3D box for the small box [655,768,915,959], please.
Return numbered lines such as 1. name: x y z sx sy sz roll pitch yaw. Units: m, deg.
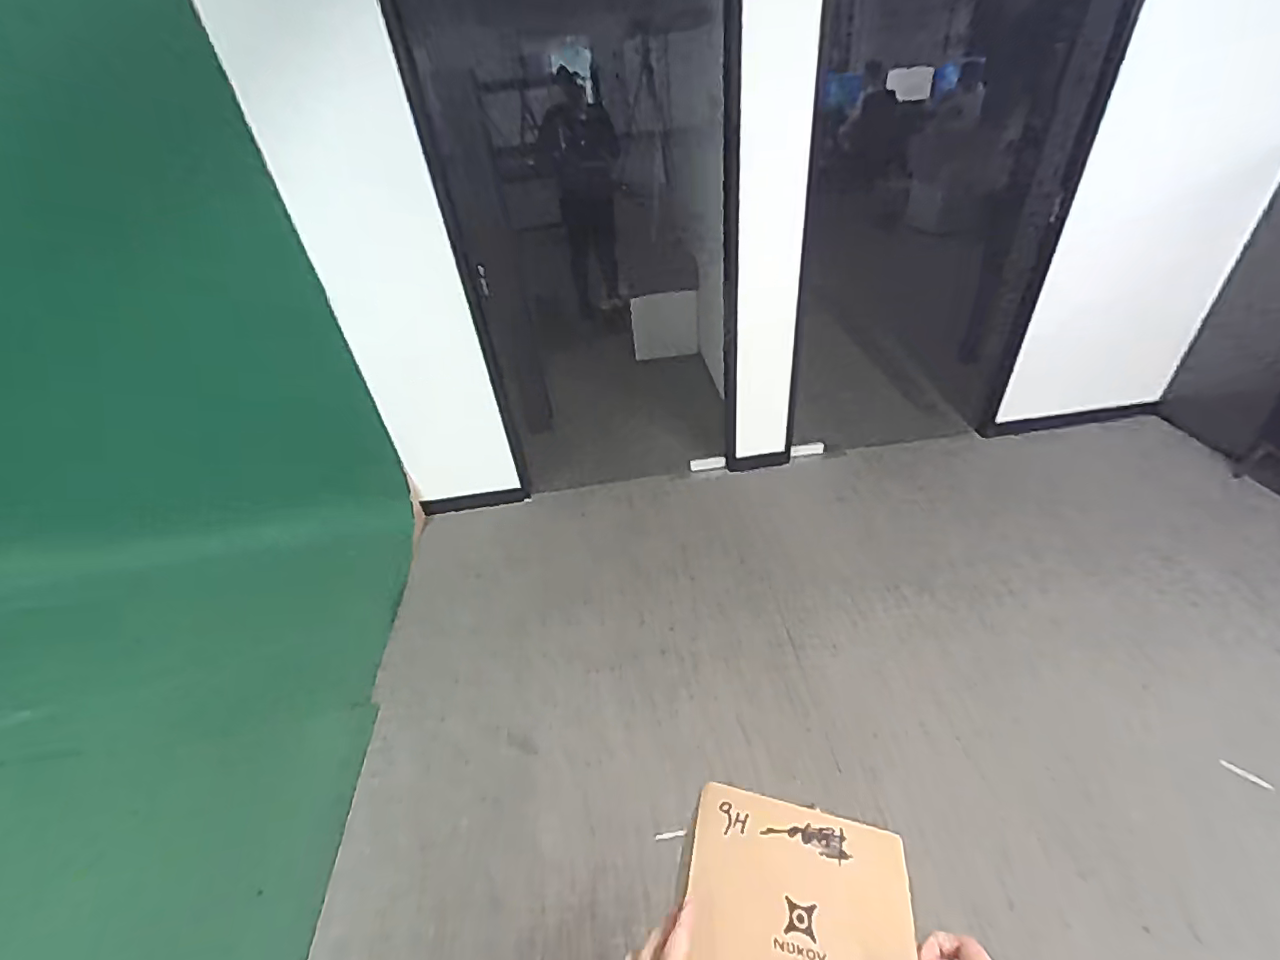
1. small box: 0.103 0.372 0.429 0.168 0.176 0.179 12 40 8
